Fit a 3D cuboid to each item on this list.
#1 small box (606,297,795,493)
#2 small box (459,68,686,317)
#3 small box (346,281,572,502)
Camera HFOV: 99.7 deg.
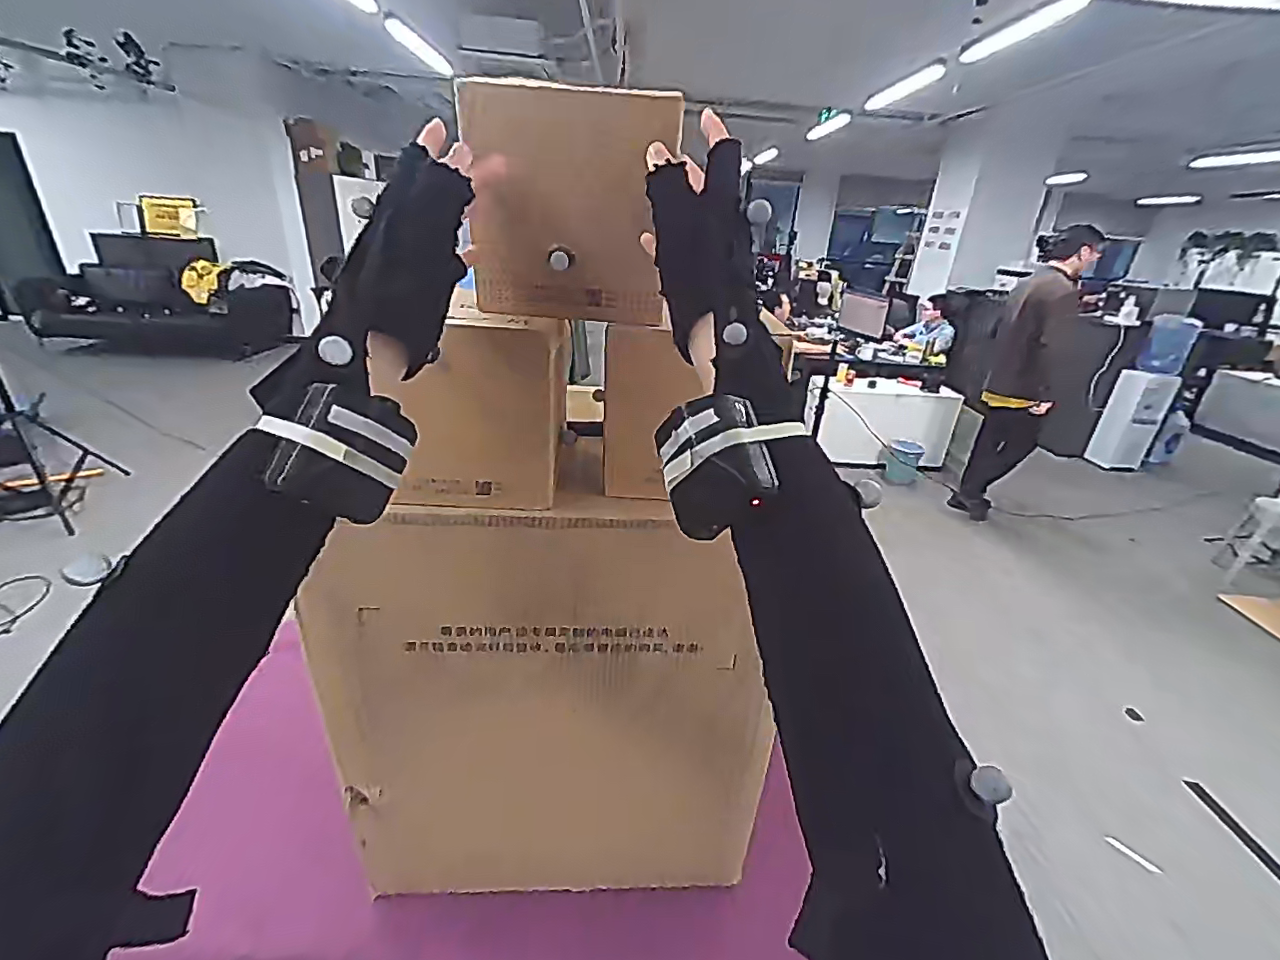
[{"bbox_3d":[0.053,-0.096,0.570,0.168,0.176,0.179,4,24,0],"label":"small box"},{"bbox_3d":[-0.049,-0.259,0.498,0.168,0.176,0.179,5,32,3],"label":"small box"},{"bbox_3d":[-0.157,-0.093,0.530,0.168,0.176,0.179,2,25,-4],"label":"small box"}]
